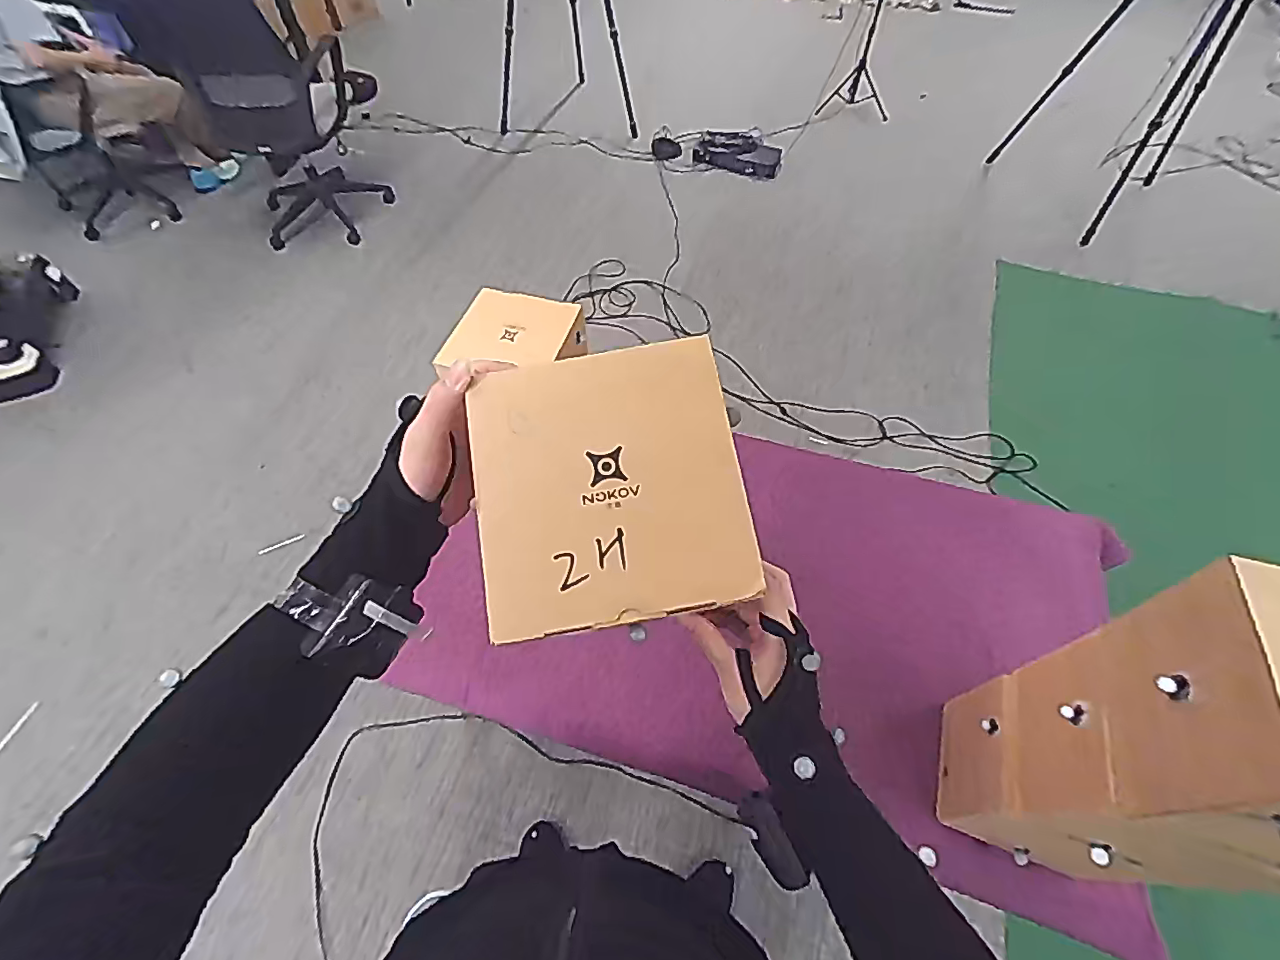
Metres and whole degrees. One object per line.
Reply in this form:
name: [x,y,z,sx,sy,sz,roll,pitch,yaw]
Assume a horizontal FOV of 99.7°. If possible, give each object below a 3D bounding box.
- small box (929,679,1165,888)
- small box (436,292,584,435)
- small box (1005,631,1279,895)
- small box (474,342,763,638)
small box: [0.504,0.384,0.693,0.179,0.176,0.168,19,57,12]
small box: [-0.188,-0.164,0.858,0.168,0.176,0.179,13,57,8]
small box: [0.508,0.290,0.559,0.168,0.176,0.179,18,57,13]
small box: [-0.017,0.020,0.418,0.168,0.176,0.179,-9,76,-1]
